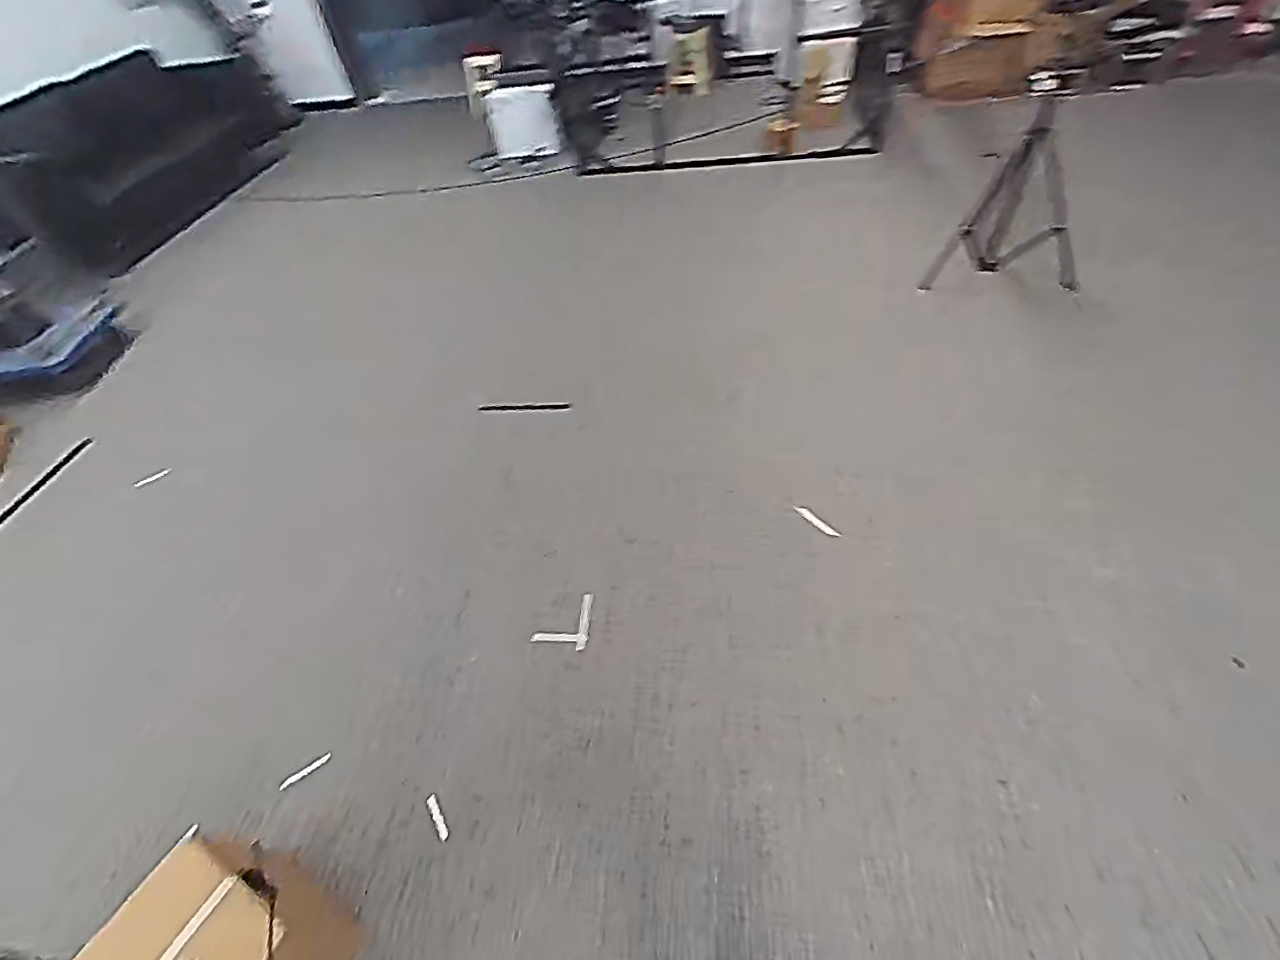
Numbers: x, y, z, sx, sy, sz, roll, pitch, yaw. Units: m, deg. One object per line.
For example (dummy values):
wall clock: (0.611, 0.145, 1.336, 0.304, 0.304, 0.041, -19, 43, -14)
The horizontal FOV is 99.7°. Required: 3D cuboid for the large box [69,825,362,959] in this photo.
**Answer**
large box: (-0.834, 0.961, 1.010, 0.320, 0.320, 0.408, 21, 53, 22)
